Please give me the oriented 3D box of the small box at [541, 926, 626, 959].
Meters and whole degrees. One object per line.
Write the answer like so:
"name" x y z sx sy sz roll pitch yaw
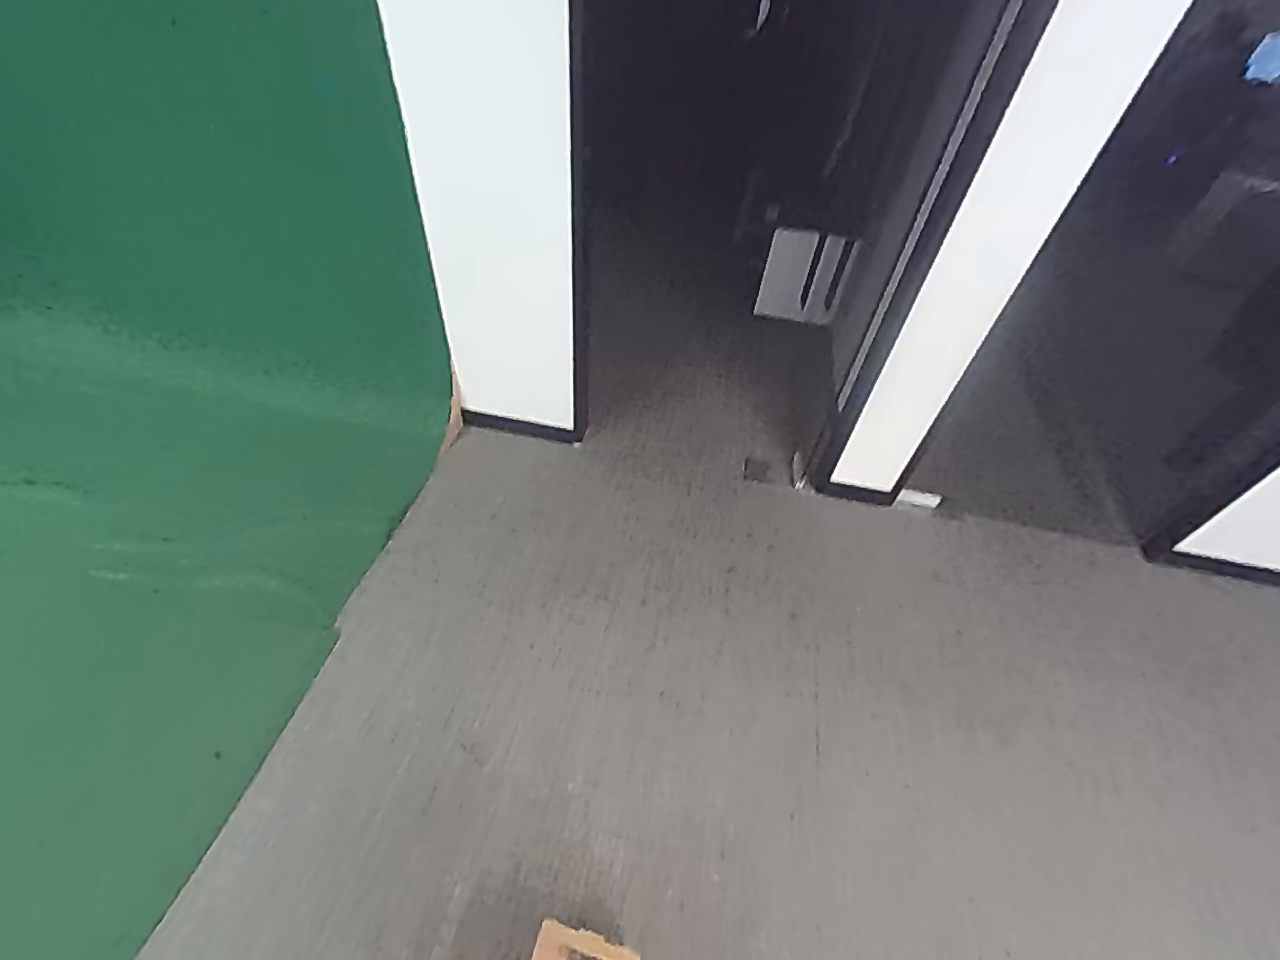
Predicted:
"small box" -0.117 0.961 0.986 0.168 0.176 0.179 17 47 10
